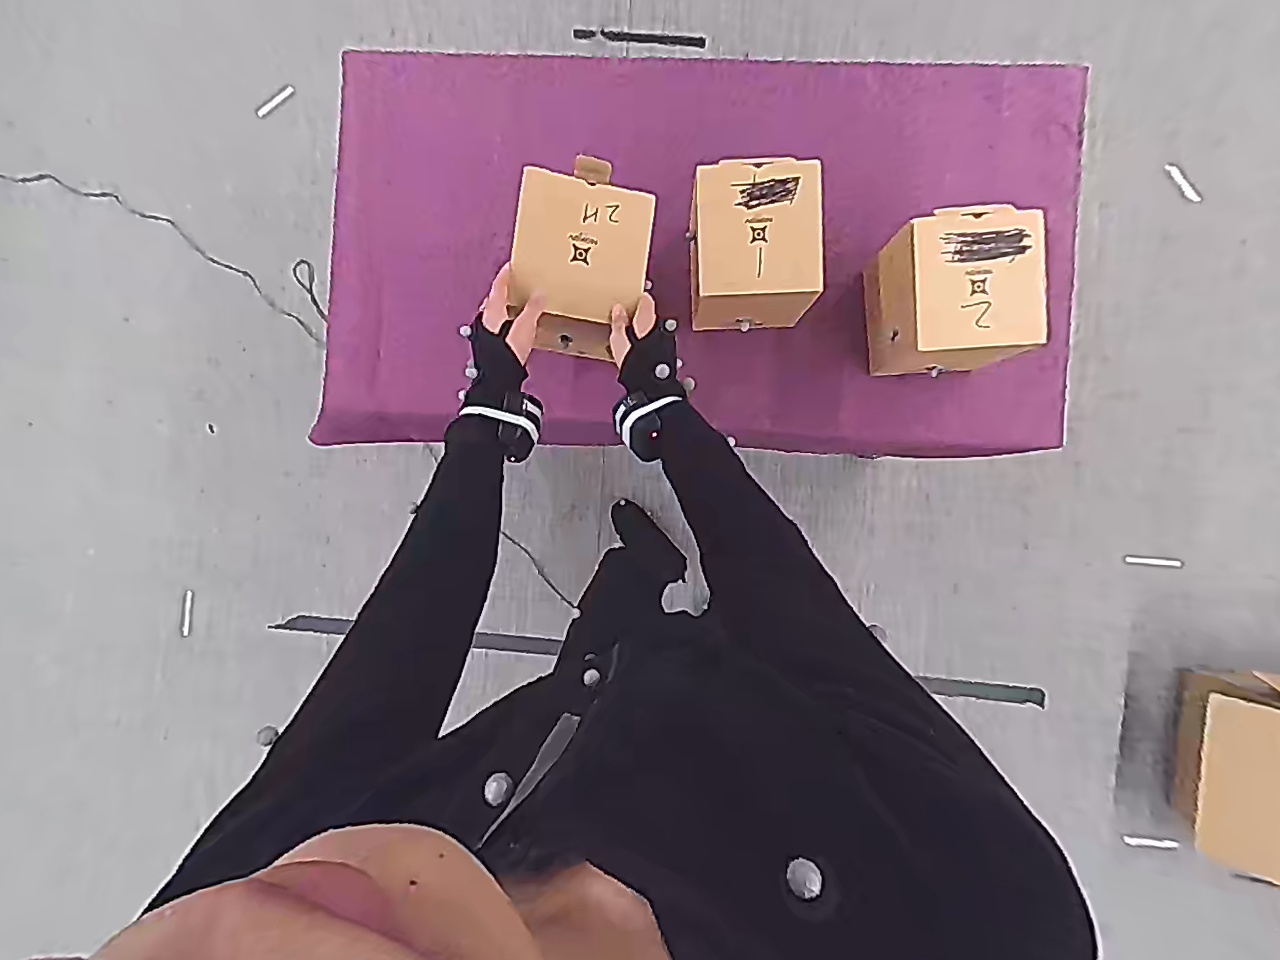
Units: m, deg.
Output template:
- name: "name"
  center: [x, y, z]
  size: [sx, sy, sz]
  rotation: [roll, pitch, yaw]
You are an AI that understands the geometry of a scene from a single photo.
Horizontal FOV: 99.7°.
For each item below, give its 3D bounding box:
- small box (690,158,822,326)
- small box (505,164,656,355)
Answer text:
- name: "small box"
  center: [0.162, -0.341, 0.802]
  size: [0.168, 0.176, 0.179]
  rotation: [-2, 90, 3]
- name: "small box"
  center: [-0.084, -0.283, 0.740]
  size: [0.168, 0.176, 0.179]
  rotation: [8, 87, -11]
